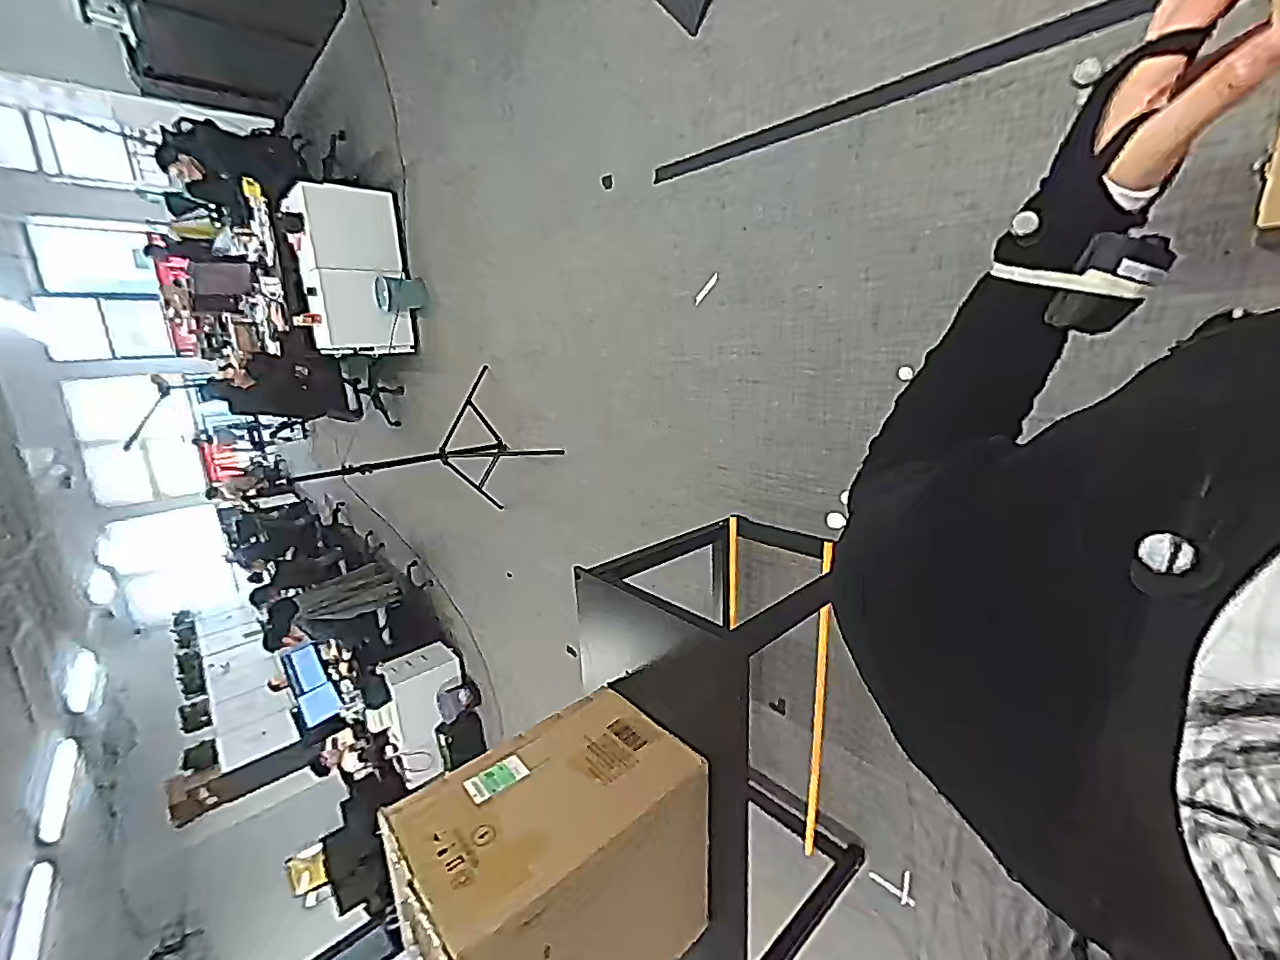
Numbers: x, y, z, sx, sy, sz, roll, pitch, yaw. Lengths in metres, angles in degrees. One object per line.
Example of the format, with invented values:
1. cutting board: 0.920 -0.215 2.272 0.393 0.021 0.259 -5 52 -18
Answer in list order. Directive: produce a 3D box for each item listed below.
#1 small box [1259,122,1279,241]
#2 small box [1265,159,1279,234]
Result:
1. small box: 1.095 -0.473 0.828 0.179 0.176 0.168 9 109 48
2. small box: 0.976 -0.439 0.719 0.168 0.176 0.179 14 113 47
